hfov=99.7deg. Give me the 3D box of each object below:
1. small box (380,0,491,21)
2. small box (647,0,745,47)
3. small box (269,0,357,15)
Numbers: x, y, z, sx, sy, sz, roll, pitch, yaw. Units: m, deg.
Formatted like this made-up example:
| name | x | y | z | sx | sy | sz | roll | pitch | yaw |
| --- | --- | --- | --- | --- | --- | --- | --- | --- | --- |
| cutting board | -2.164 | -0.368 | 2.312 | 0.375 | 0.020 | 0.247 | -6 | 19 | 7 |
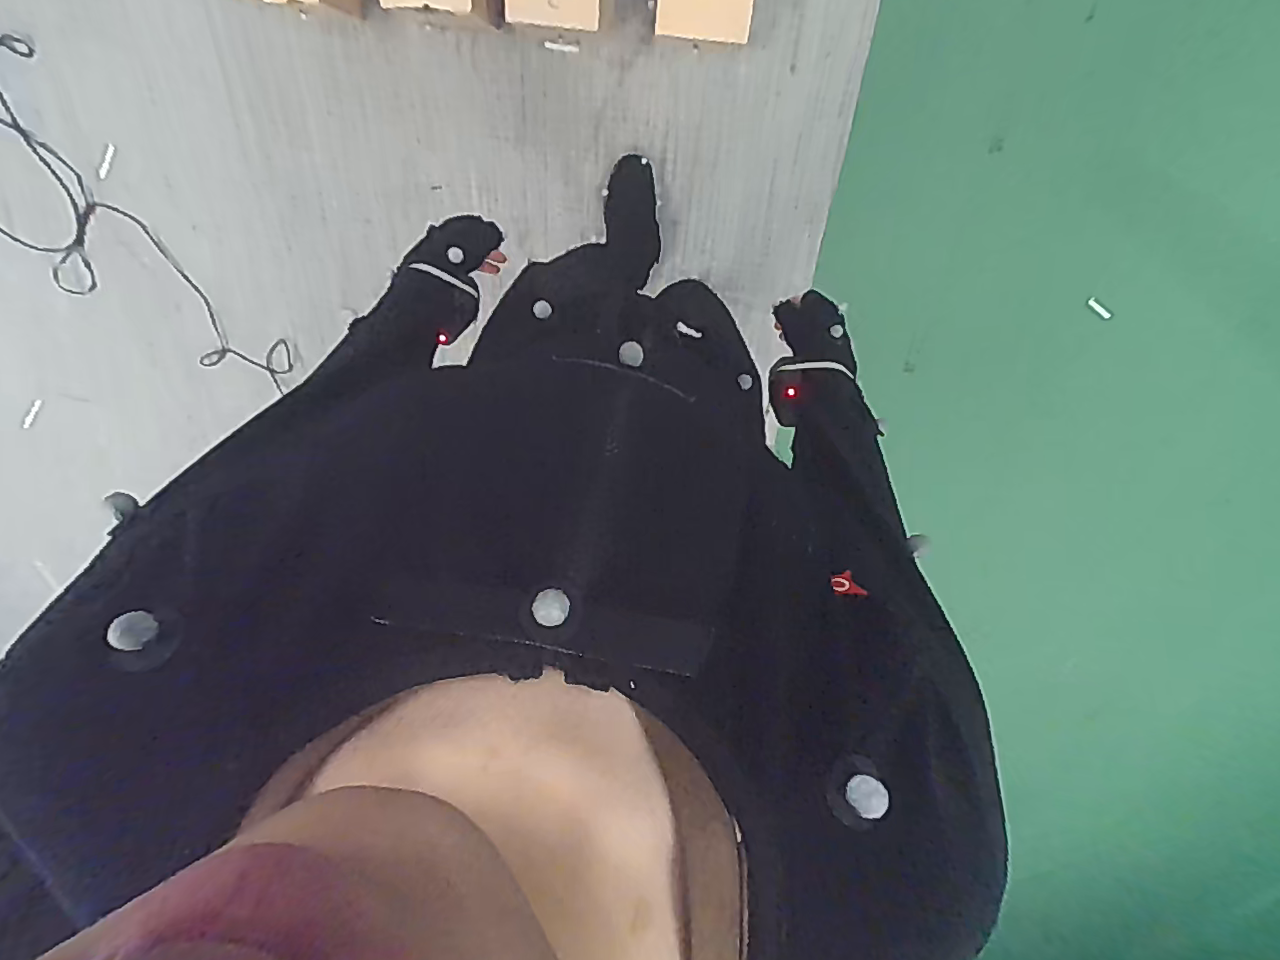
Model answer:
| name | x | y | z | sx | sy | sz | roll | pitch | yaw |
| --- | --- | --- | --- | --- | --- | --- | --- | --- | --- |
| small box | -0.372 | -0.946 | 0.960 | 0.168 | 0.176 | 0.179 | 6 | 122 | 1 |
| small box | 0.107 | -0.897 | 0.964 | 0.168 | 0.176 | 0.179 | 6 | 123 | -1 |
| small box | -0.637 | -0.969 | 0.966 | 0.168 | 0.176 | 0.179 | 6 | 123 | 0 |
